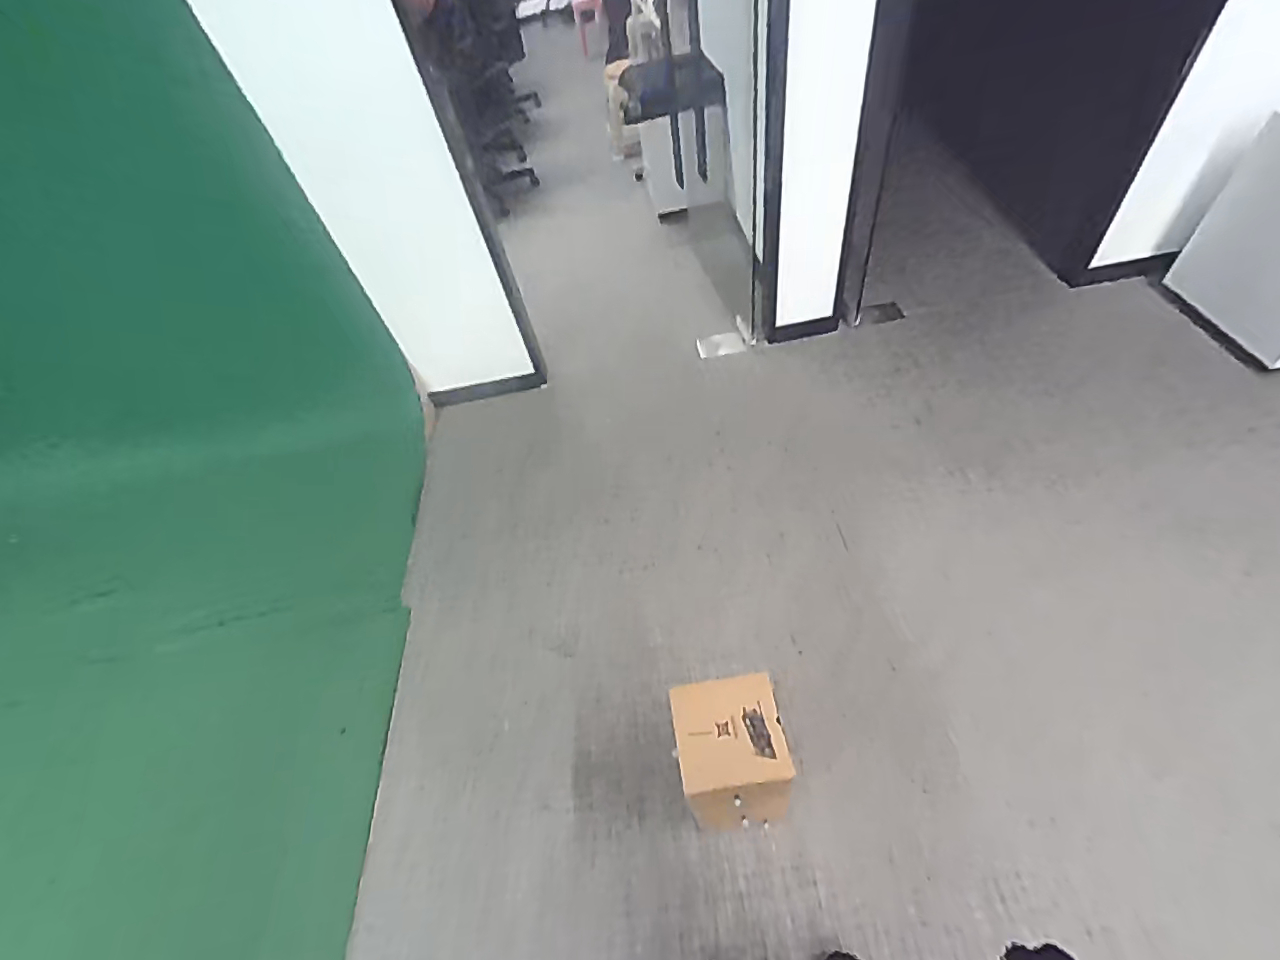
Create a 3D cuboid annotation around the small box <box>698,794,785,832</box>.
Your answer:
[{"bbox_3d":[0.210,0.660,1.189,0.179,0.176,0.168,-12,49,4],"label":"small box"}]

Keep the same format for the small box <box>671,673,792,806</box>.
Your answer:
[{"bbox_3d":[0.153,0.453,0.938,0.179,0.176,0.168,-8,48,5],"label":"small box"}]
